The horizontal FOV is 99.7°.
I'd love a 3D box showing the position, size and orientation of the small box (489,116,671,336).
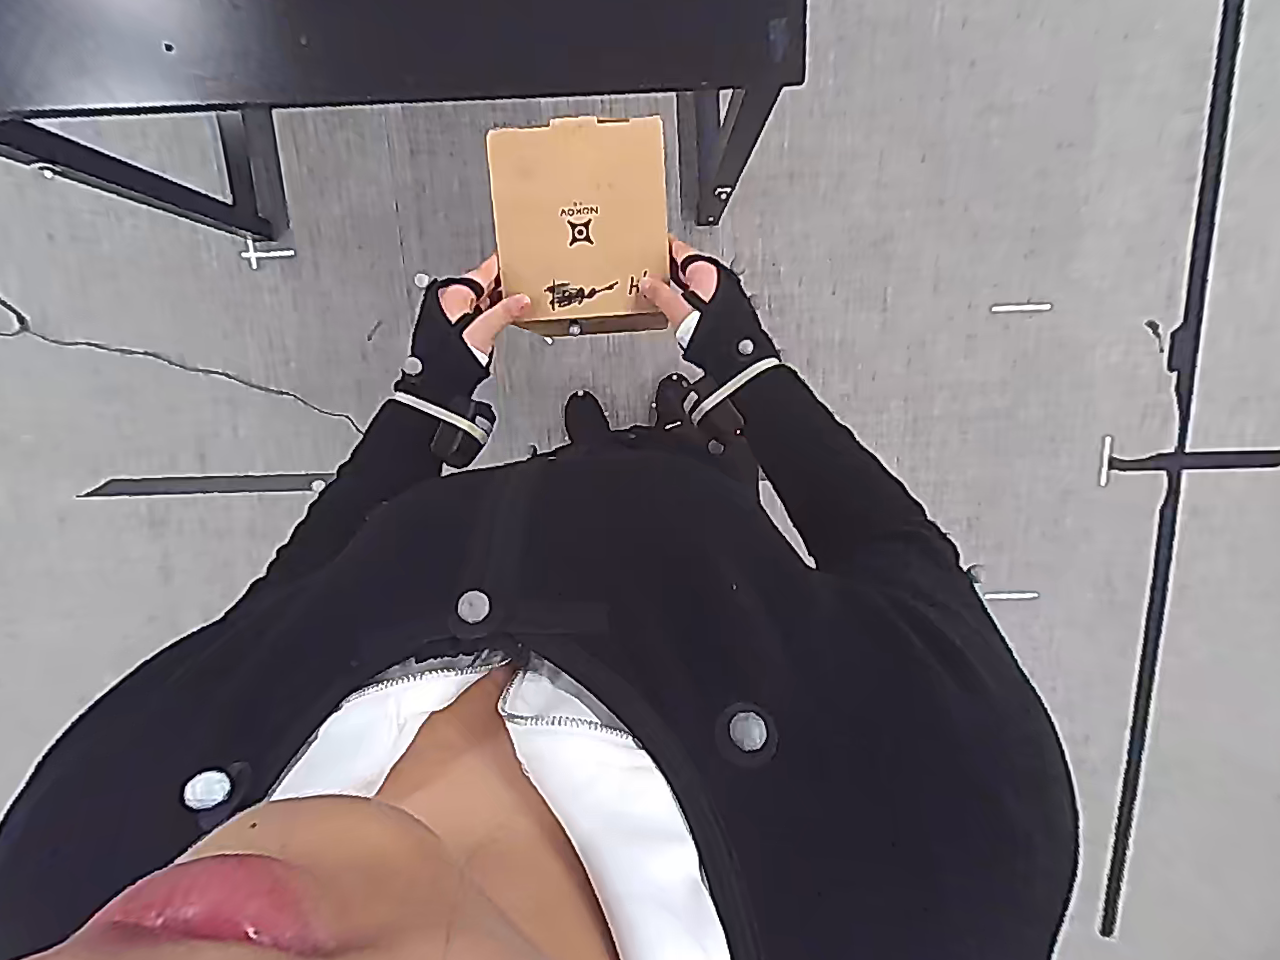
[{"bbox_3d":[-0.054,-0.259,0.591,0.168,0.176,0.179,-3,100,3],"label":"small box"}]
